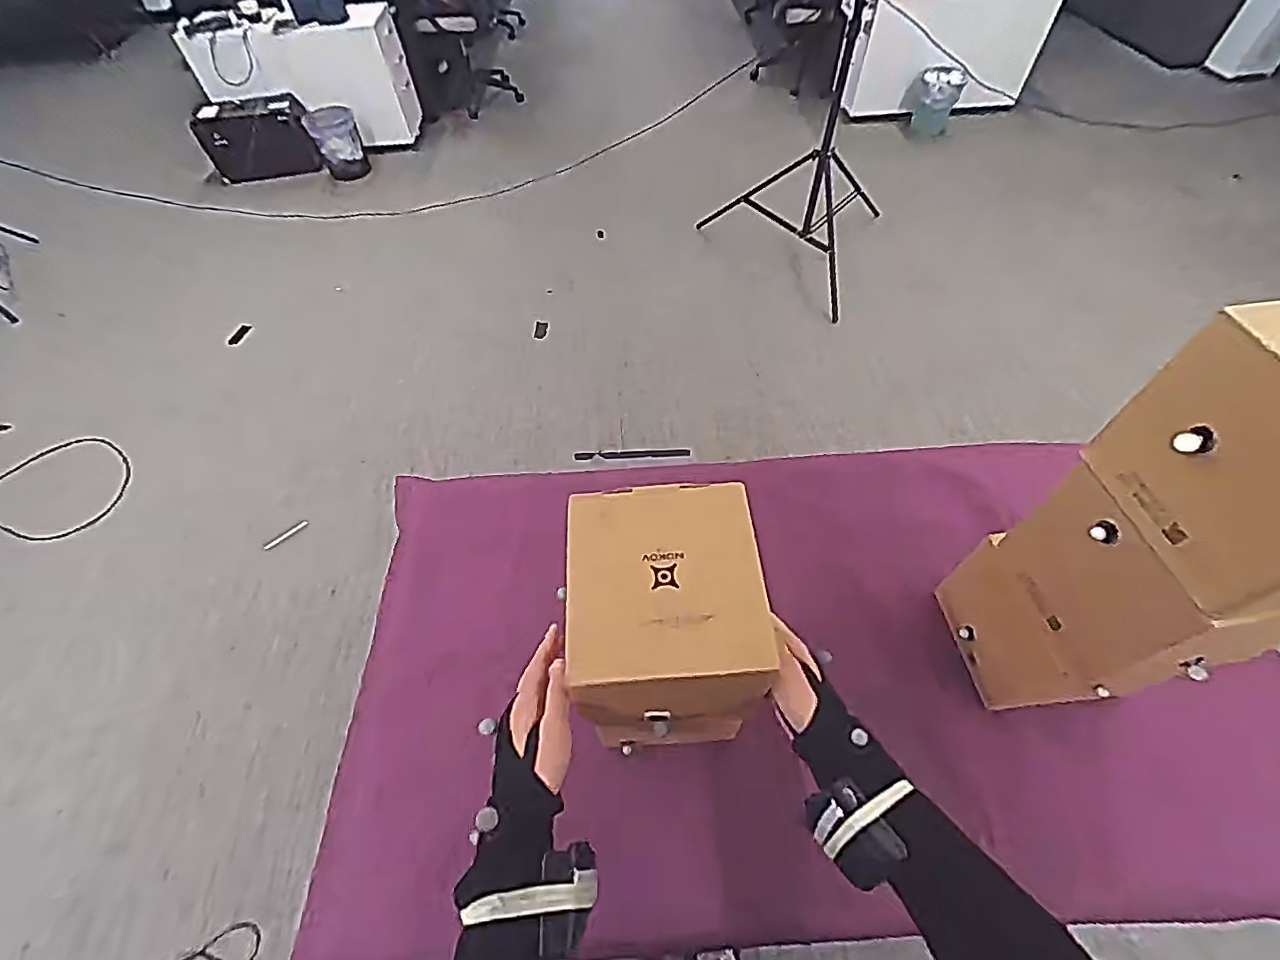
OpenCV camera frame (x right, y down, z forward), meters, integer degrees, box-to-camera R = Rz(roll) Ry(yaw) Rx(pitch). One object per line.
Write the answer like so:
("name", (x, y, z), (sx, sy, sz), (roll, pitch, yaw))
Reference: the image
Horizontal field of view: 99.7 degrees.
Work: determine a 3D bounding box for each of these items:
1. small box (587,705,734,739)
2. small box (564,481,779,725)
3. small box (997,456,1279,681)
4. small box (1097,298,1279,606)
("small box", (0.026, 0.207, 0.659), (0.168, 0.176, 0.179), (-4, 53, -1))
("small box", (0.022, 0.121, 0.520), (0.168, 0.176, 0.179), (-4, 55, 0))
("small box", (0.507, 0.082, 0.529), (0.179, 0.176, 0.168), (-8, 54, -3))
("small box", (0.499, -0.020, 0.402), (0.179, 0.176, 0.168), (-8, 54, -3))
